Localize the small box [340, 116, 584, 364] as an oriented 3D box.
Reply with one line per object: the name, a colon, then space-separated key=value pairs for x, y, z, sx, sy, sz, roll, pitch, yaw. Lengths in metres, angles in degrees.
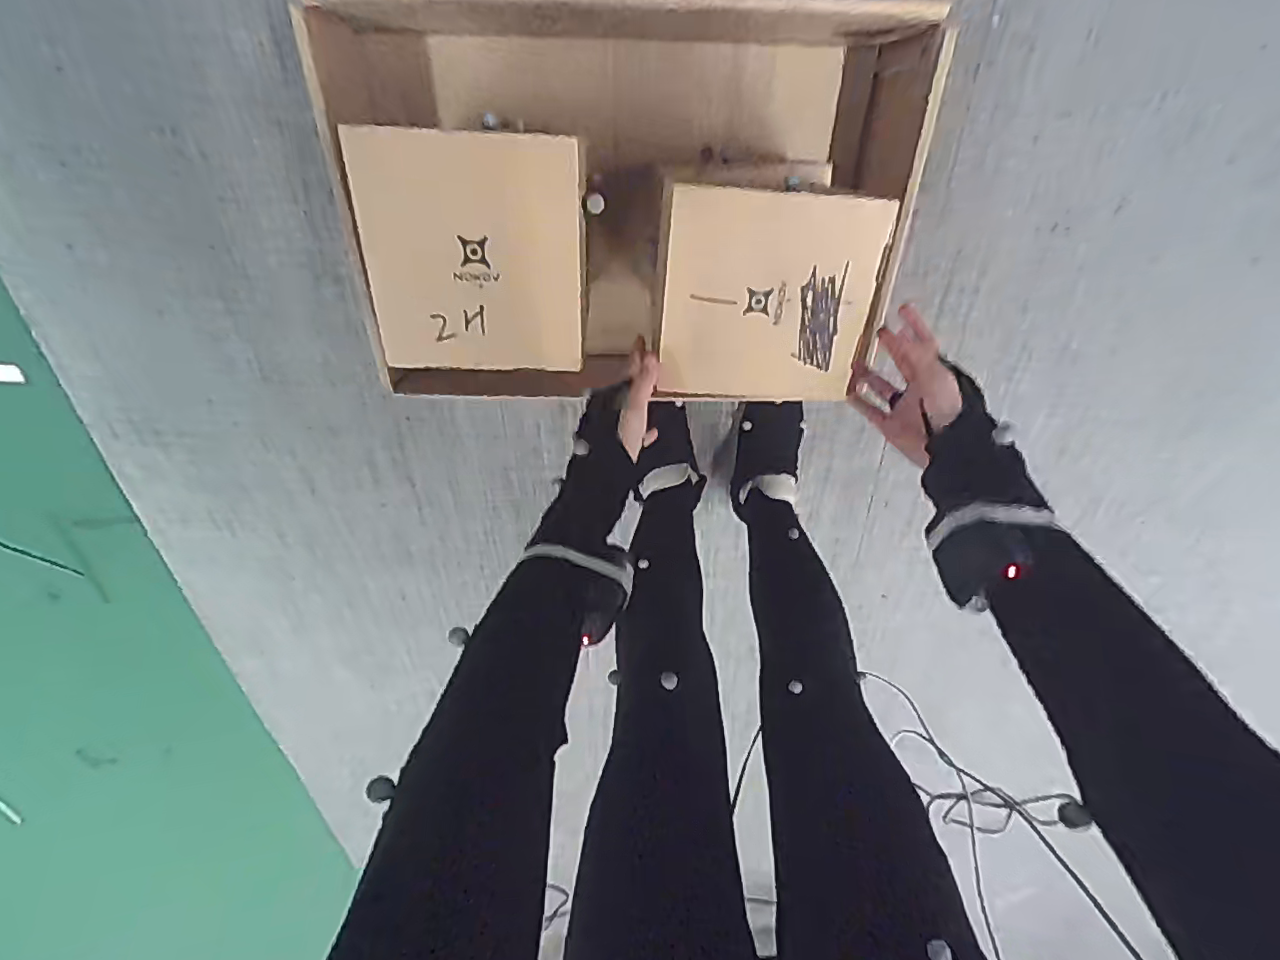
small box: x=-0.139 y=-0.220 z=0.495 sx=0.168 sy=0.176 sz=0.179 roll=1 pitch=122 yaw=-3

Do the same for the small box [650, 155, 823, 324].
small box: x=0.100 y=-0.294 z=0.656 sx=0.179 sy=0.176 sz=0.168 roll=-1 pitch=123 yaw=1
